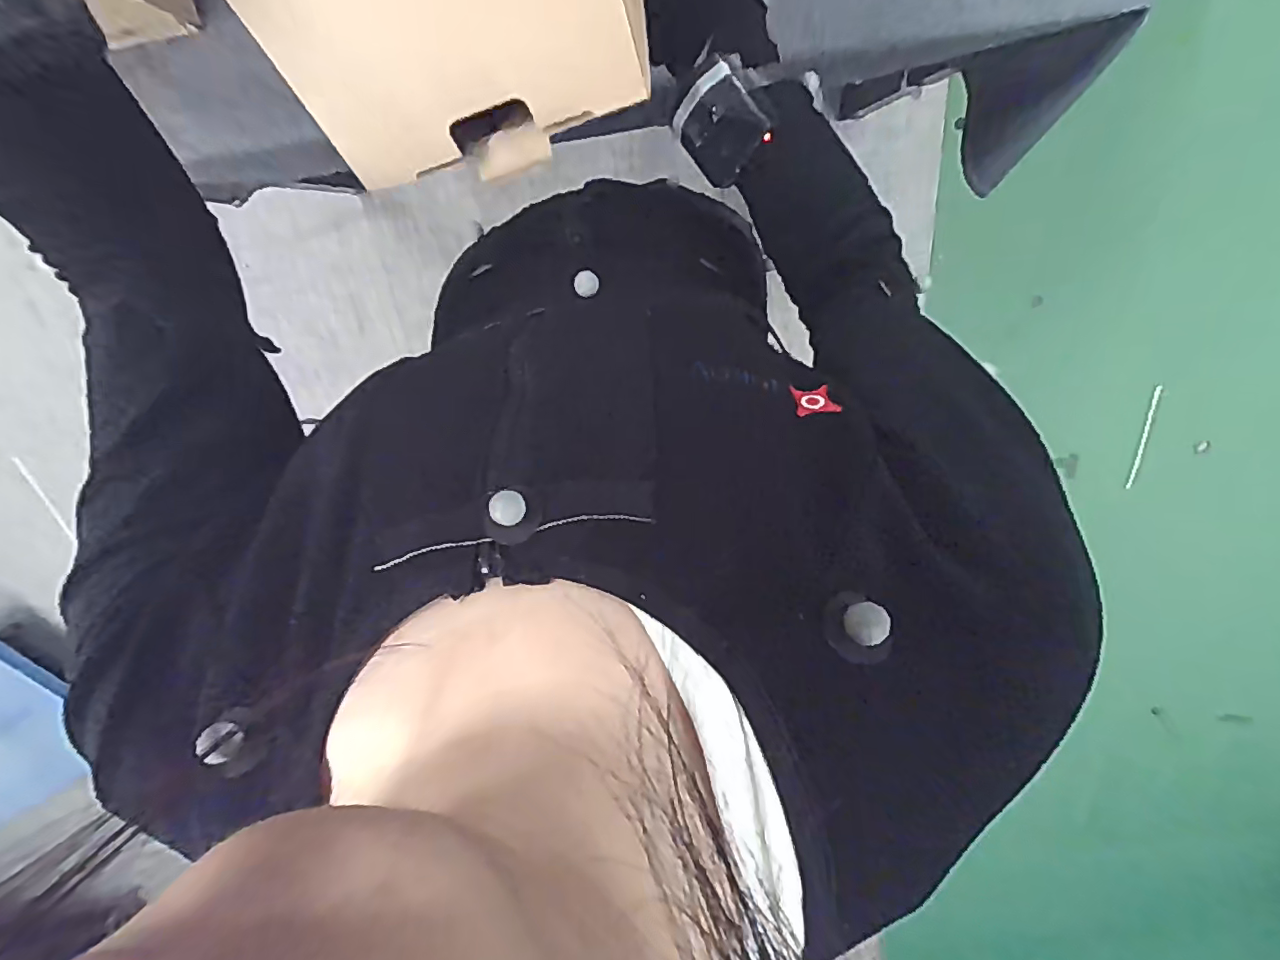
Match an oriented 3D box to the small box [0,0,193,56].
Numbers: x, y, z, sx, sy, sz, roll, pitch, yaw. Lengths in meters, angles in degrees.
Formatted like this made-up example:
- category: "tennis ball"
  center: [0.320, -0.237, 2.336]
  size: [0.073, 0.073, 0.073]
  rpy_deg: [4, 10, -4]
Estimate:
- category: "small box"
  center: [-0.532, -0.484, 0.436]
  size: [0.168, 0.176, 0.179]
  rpy_deg: [-9, 115, 3]
